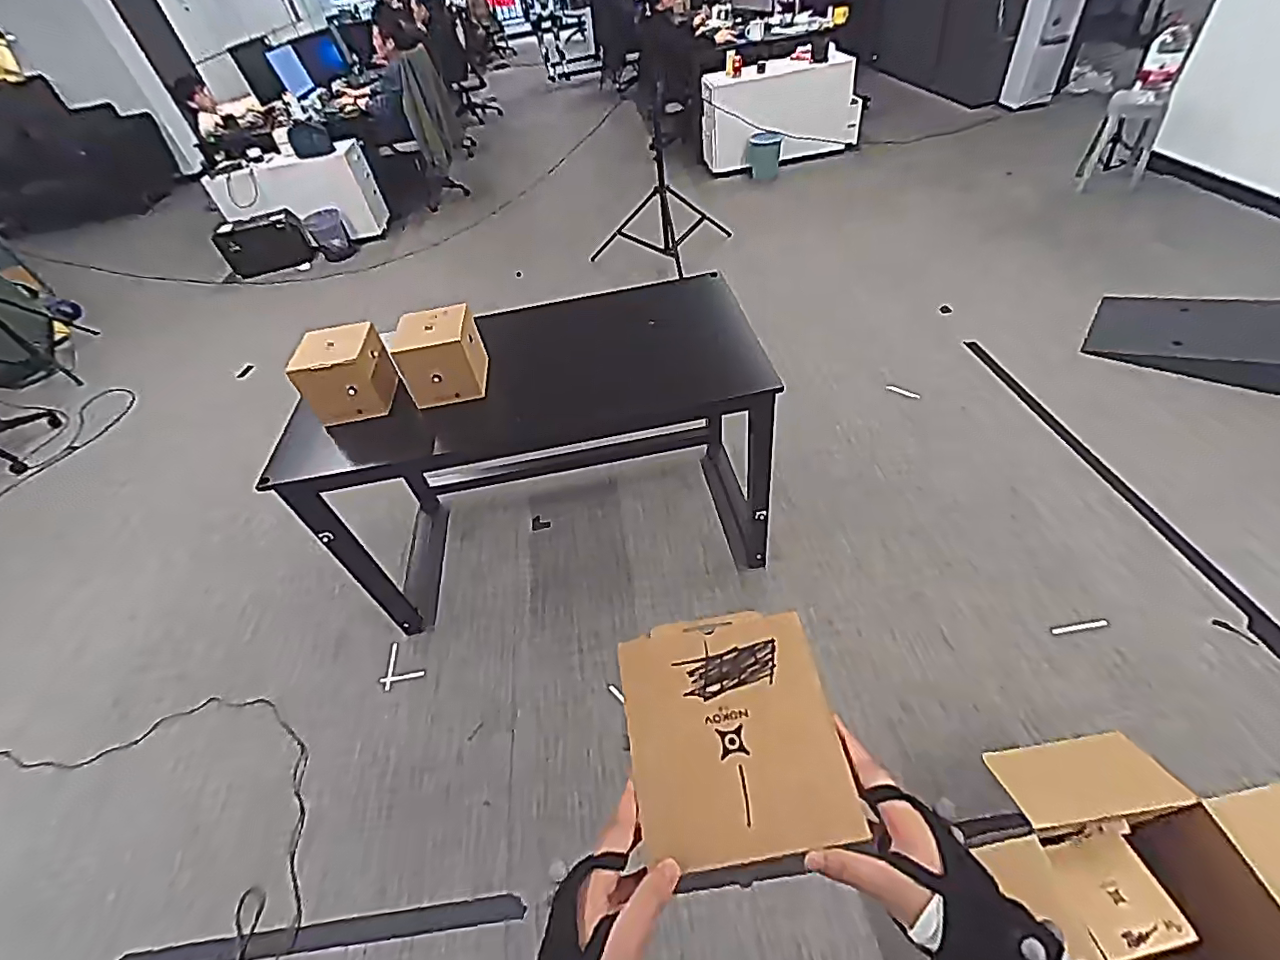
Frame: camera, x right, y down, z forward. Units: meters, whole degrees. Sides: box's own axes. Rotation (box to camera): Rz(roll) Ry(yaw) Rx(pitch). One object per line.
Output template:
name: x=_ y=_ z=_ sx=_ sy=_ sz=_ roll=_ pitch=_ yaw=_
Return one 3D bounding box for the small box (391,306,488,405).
small box: x=-0.486 y=-0.302 z=1.338 sx=0.168 sy=0.176 sz=0.179 roll=-10 pitch=46 yaw=0

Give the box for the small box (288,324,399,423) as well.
small box: x=-0.721 y=-0.257 z=1.339 sx=0.168 sy=0.176 sz=0.179 roll=-10 pitch=45 yaw=-1

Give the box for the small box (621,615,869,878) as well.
small box: x=0.079 y=0.249 z=0.499 sx=0.168 sy=0.176 sz=0.179 roll=-10 pitch=54 yaw=-1
